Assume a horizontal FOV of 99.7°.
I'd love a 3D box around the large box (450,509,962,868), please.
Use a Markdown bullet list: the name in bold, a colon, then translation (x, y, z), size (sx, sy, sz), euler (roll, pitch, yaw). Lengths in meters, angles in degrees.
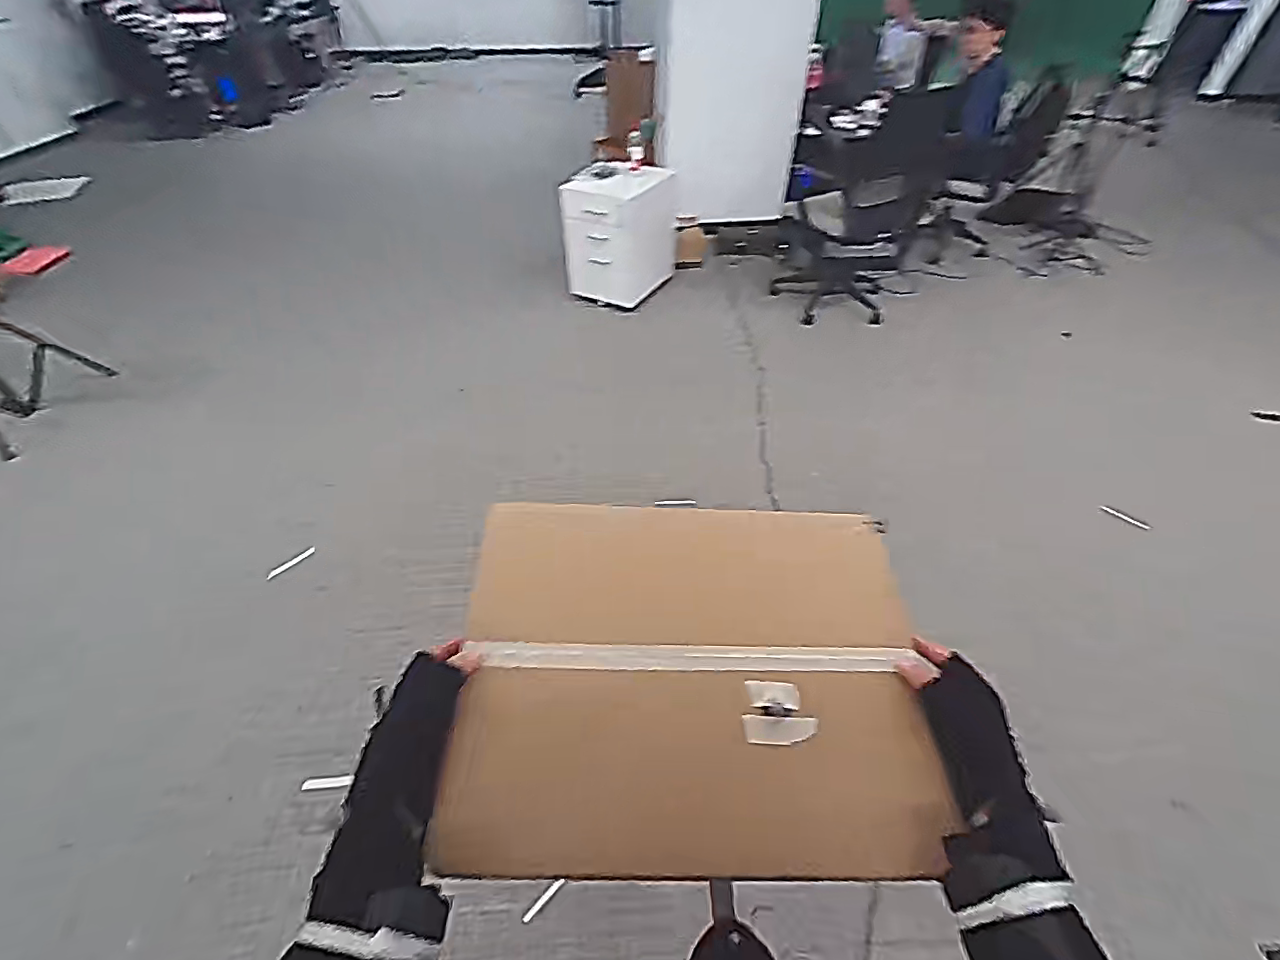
- **large box**: translation (0.044, 0.248, 0.614), size (0.408, 0.320, 0.320), euler (3, 55, -3)
